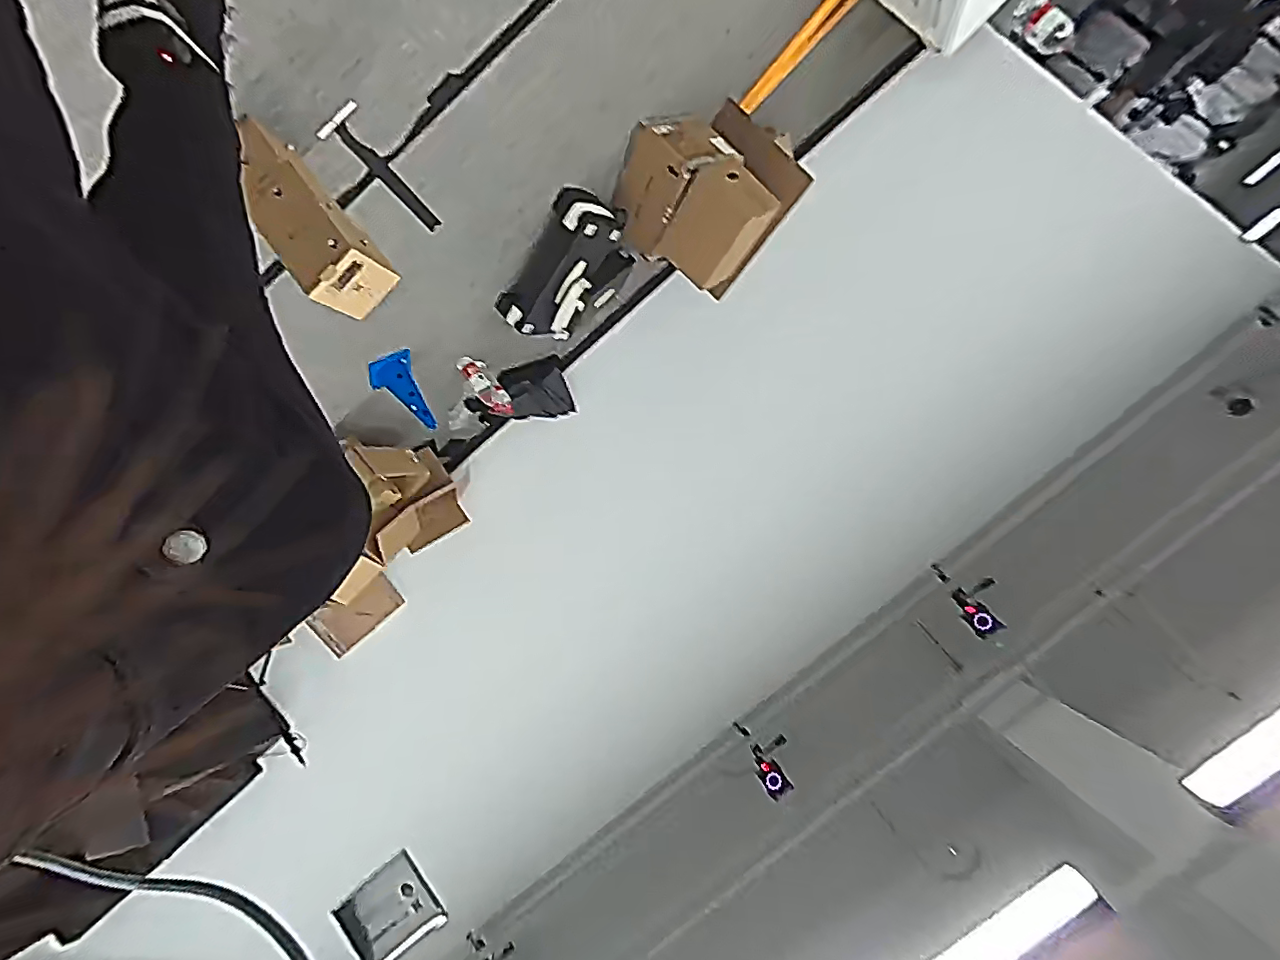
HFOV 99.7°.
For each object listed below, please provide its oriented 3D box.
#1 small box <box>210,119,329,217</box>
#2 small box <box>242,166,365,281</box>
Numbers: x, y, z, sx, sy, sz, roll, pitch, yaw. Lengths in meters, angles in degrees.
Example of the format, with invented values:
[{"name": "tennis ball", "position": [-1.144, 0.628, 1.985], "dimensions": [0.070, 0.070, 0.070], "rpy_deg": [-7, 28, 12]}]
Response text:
[{"name": "small box", "position": [-0.978, -0.787, 1.422], "dimensions": [0.179, 0.176, 0.168], "rpy_deg": [-41, 170, 7]}, {"name": "small box", "position": [-0.871, -0.664, 1.405], "dimensions": [0.168, 0.176, 0.179], "rpy_deg": [-40, 169, 2]}]
